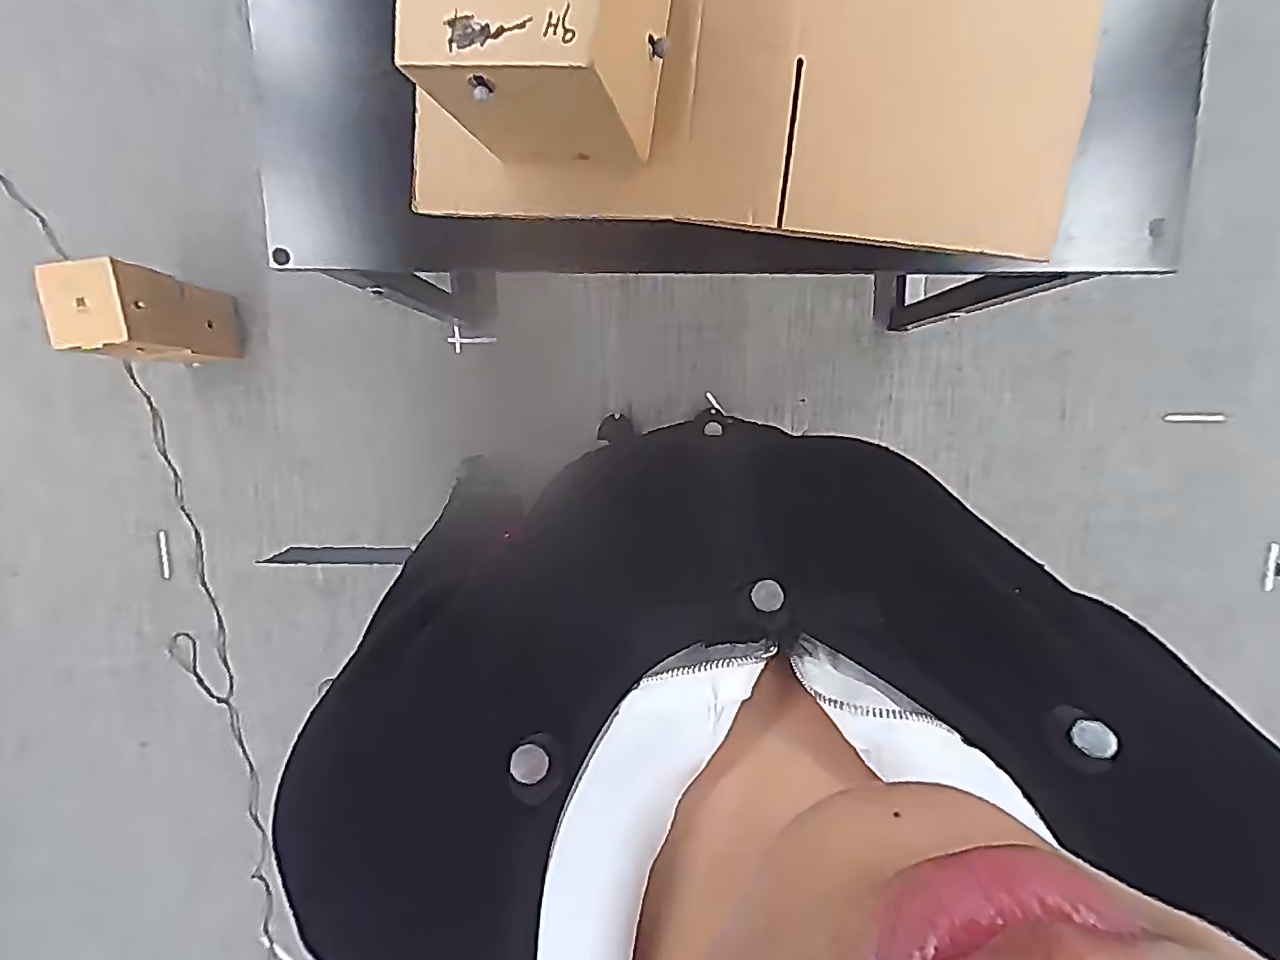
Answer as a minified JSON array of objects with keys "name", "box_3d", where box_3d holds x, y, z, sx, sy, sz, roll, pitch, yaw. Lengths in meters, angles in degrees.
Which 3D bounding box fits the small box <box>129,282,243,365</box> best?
[{"name":"small box","box_3d":[-1.159,-0.393,1.376,0.168,0.176,0.179,-4,98,1]}]

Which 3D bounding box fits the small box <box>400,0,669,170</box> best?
[{"name":"small box","box_3d":[-0.076,-0.402,0.468,0.168,0.176,0.179,10,98,13]}]

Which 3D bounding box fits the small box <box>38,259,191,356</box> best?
[{"name":"small box","box_3d":[-1.163,-0.376,1.214,0.168,0.176,0.179,-7,97,0]}]
